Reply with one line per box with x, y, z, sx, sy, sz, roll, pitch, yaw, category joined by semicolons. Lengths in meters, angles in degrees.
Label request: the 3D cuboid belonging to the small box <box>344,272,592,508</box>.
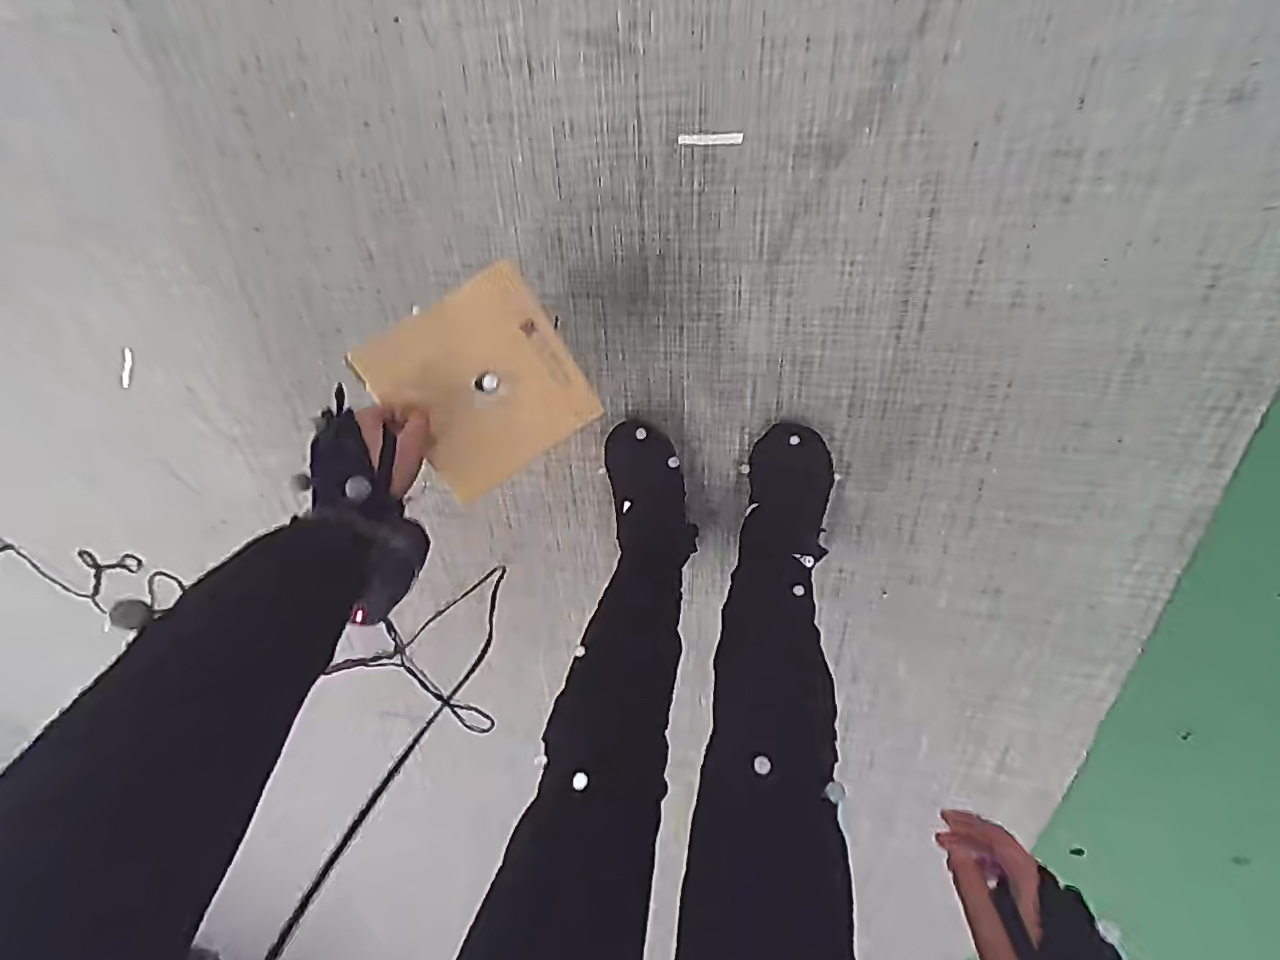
-0.171;-0.098;0.577;0.176;0.179;0.168;-36;109;-8;small box
